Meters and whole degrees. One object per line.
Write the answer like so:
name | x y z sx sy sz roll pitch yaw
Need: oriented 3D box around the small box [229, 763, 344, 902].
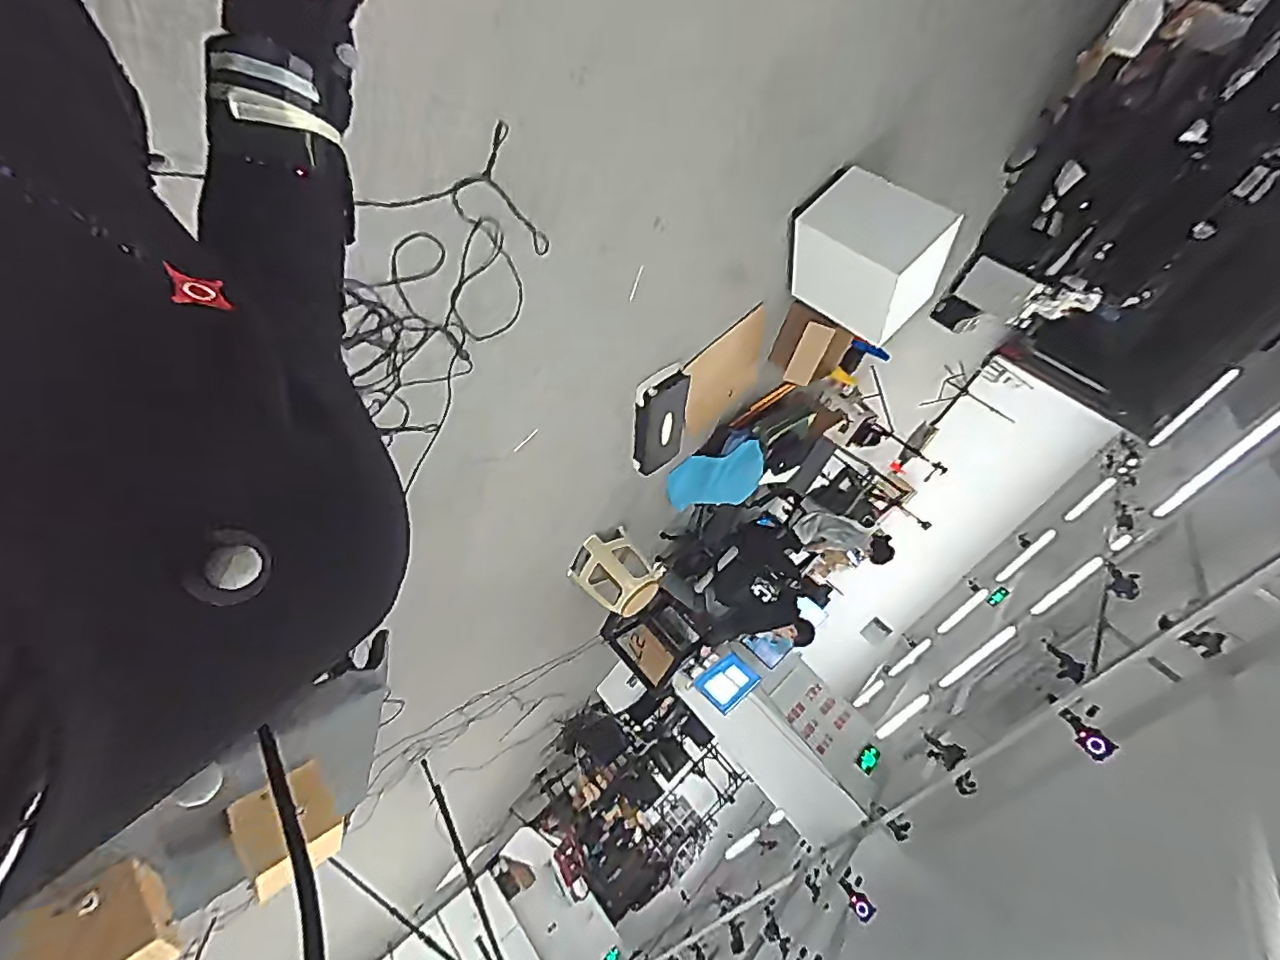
small box | -0.773 0.762 1.186 0.168 0.176 0.179 -21 146 -45

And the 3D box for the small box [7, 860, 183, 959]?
small box | -0.969 0.831 0.970 0.168 0.176 0.179 -26 149 -41
